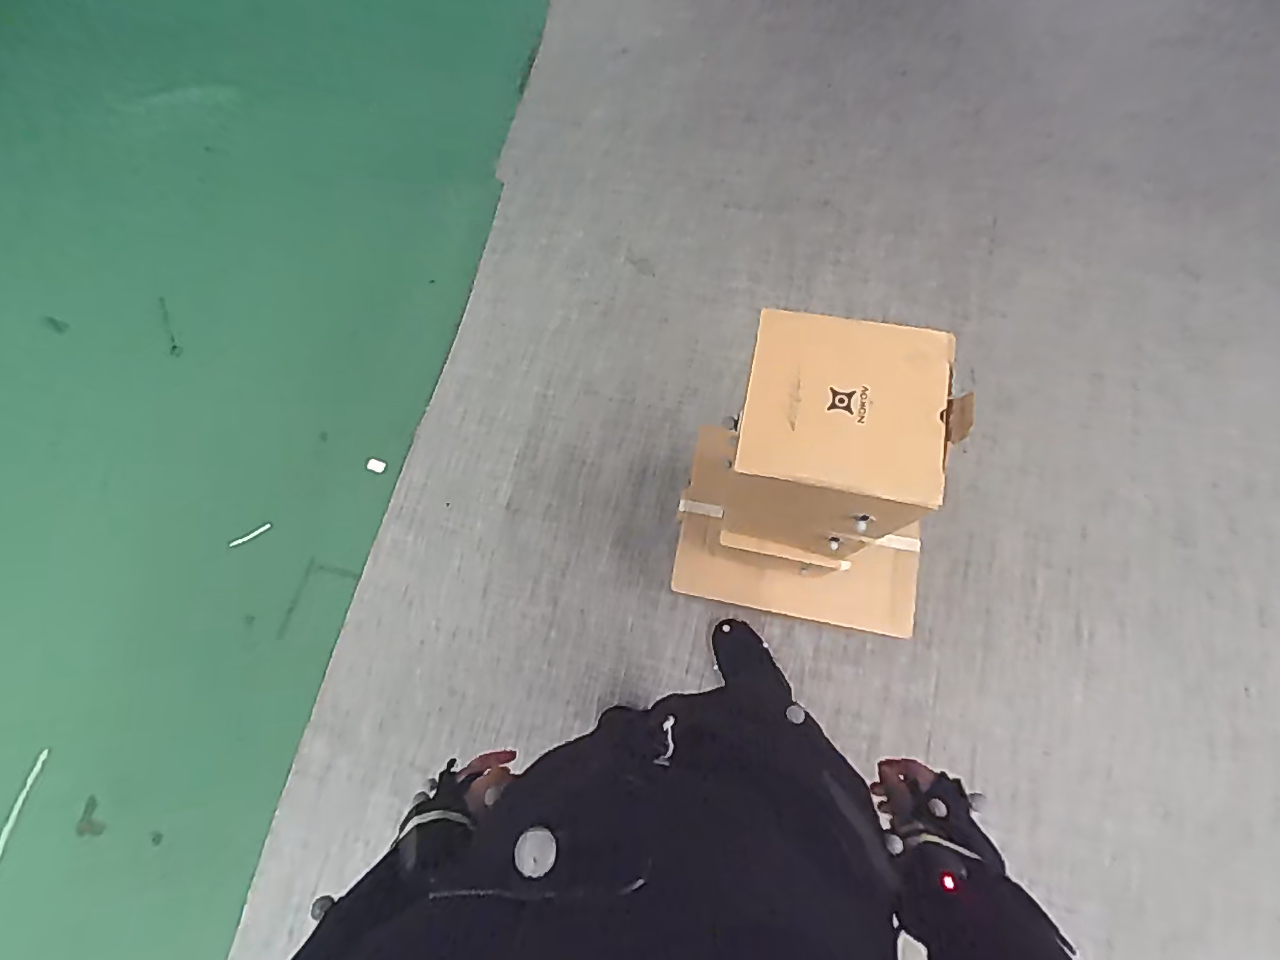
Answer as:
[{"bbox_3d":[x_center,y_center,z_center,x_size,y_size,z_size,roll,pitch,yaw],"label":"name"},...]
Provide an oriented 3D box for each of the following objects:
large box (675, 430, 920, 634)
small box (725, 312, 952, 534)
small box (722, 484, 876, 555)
[{"bbox_3d":[0.294,0.117,1.094,0.408,0.320,0.320,9,78,9],"label":"large box"},{"bbox_3d":[0.189,-0.047,0.557,0.179,0.176,0.168,10,75,9],"label":"small box"},{"bbox_3d":[0.210,-0.006,0.713,0.179,0.176,0.168,14,77,9],"label":"small box"}]
